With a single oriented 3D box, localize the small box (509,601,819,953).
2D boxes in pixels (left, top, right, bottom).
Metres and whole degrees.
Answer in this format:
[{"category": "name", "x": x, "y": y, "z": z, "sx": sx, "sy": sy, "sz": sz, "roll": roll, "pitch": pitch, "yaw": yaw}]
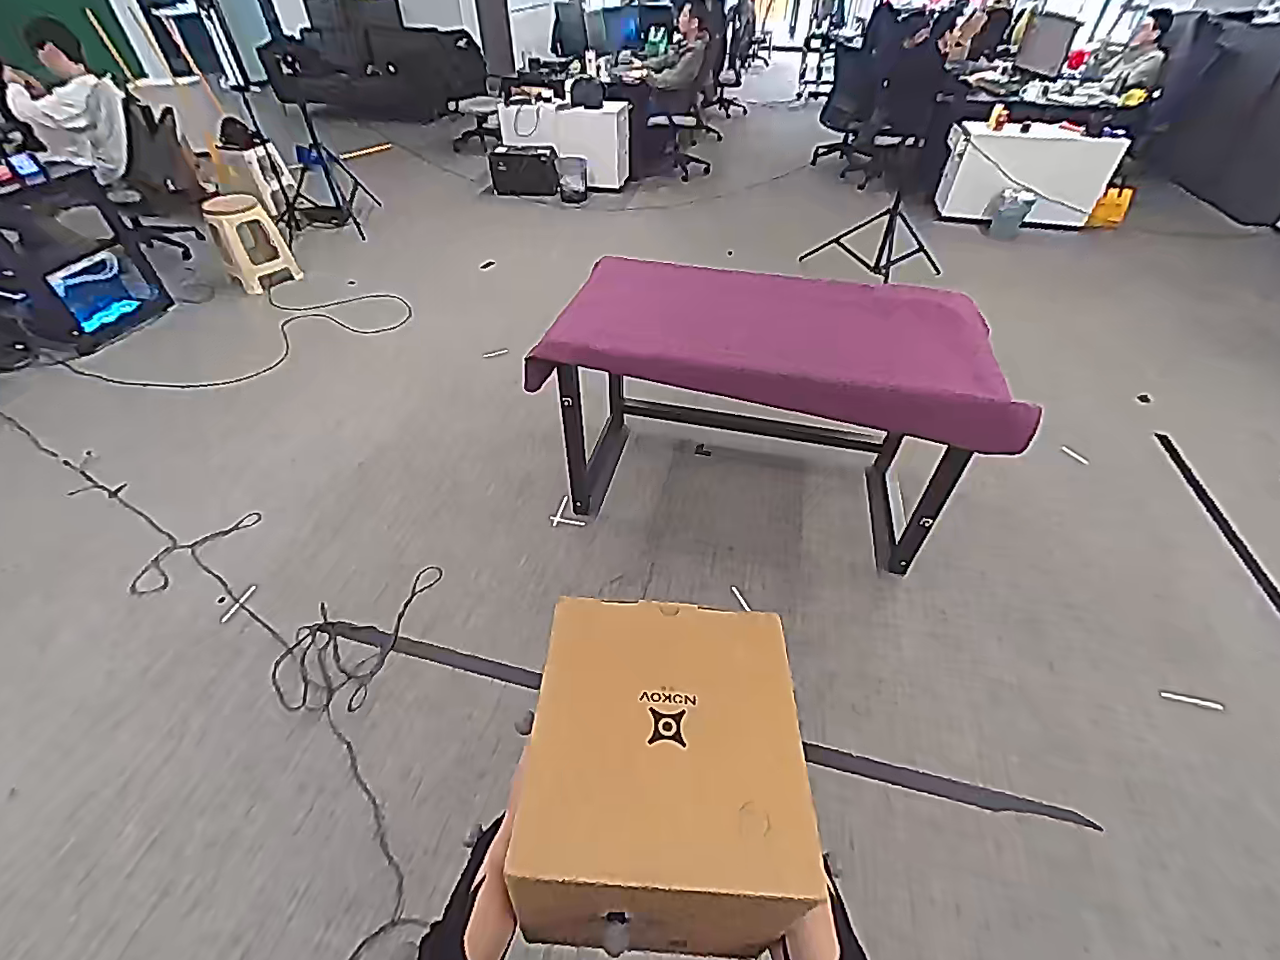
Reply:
[{"category": "small box", "x": 0.012, "y": 0.213, "z": 0.393, "sx": 0.168, "sy": 0.176, "sz": 0.179, "roll": 4, "pitch": 39, "yaw": -1}]
